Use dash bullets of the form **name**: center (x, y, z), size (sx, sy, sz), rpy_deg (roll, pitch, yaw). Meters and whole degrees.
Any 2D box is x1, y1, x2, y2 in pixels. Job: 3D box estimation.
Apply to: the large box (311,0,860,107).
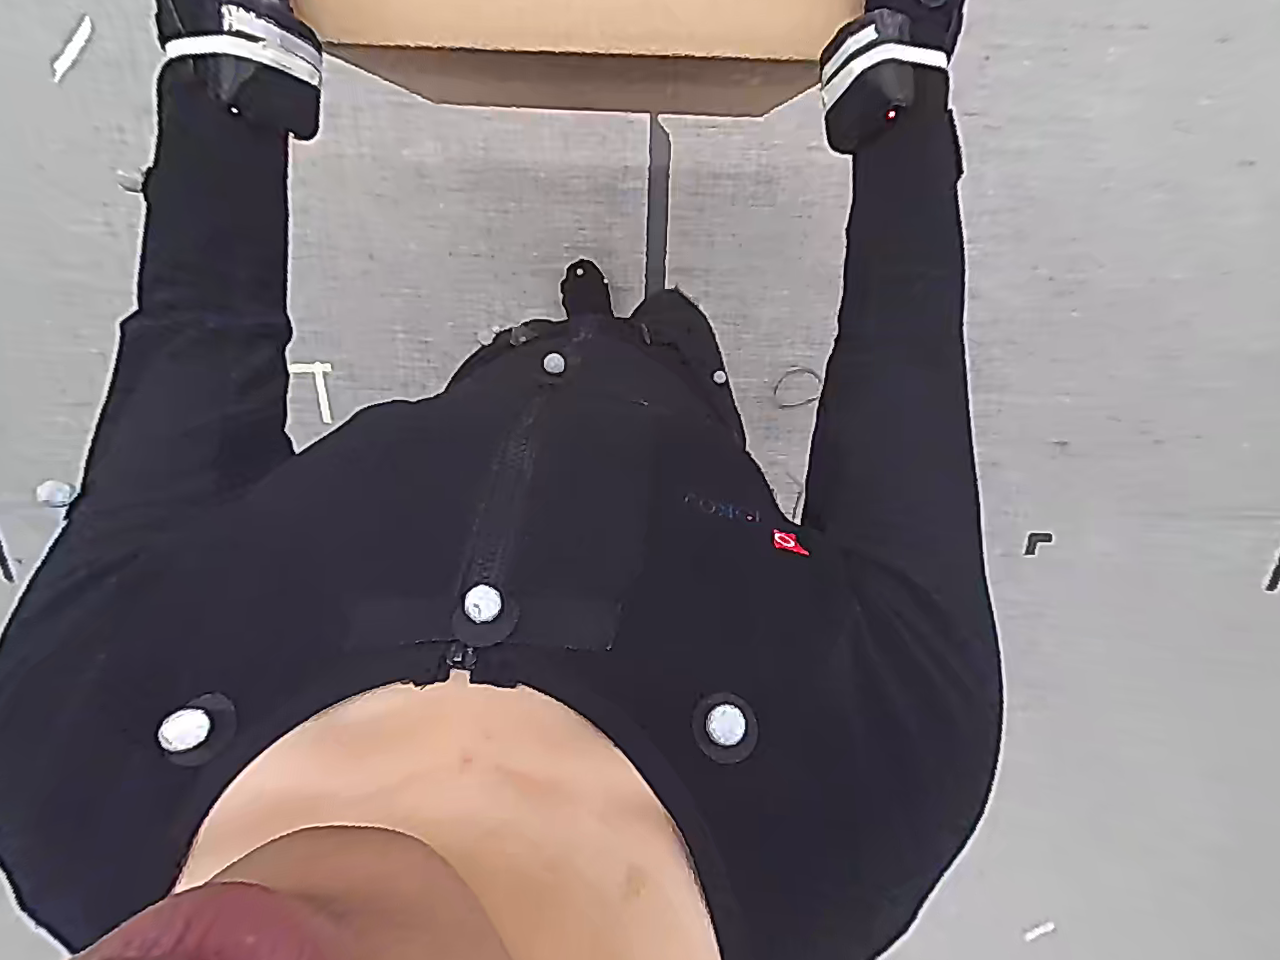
- **large box**: center (-0.044, -0.528, 0.463), size (0.408, 0.320, 0.320), rpy_deg (0, 118, -3)
